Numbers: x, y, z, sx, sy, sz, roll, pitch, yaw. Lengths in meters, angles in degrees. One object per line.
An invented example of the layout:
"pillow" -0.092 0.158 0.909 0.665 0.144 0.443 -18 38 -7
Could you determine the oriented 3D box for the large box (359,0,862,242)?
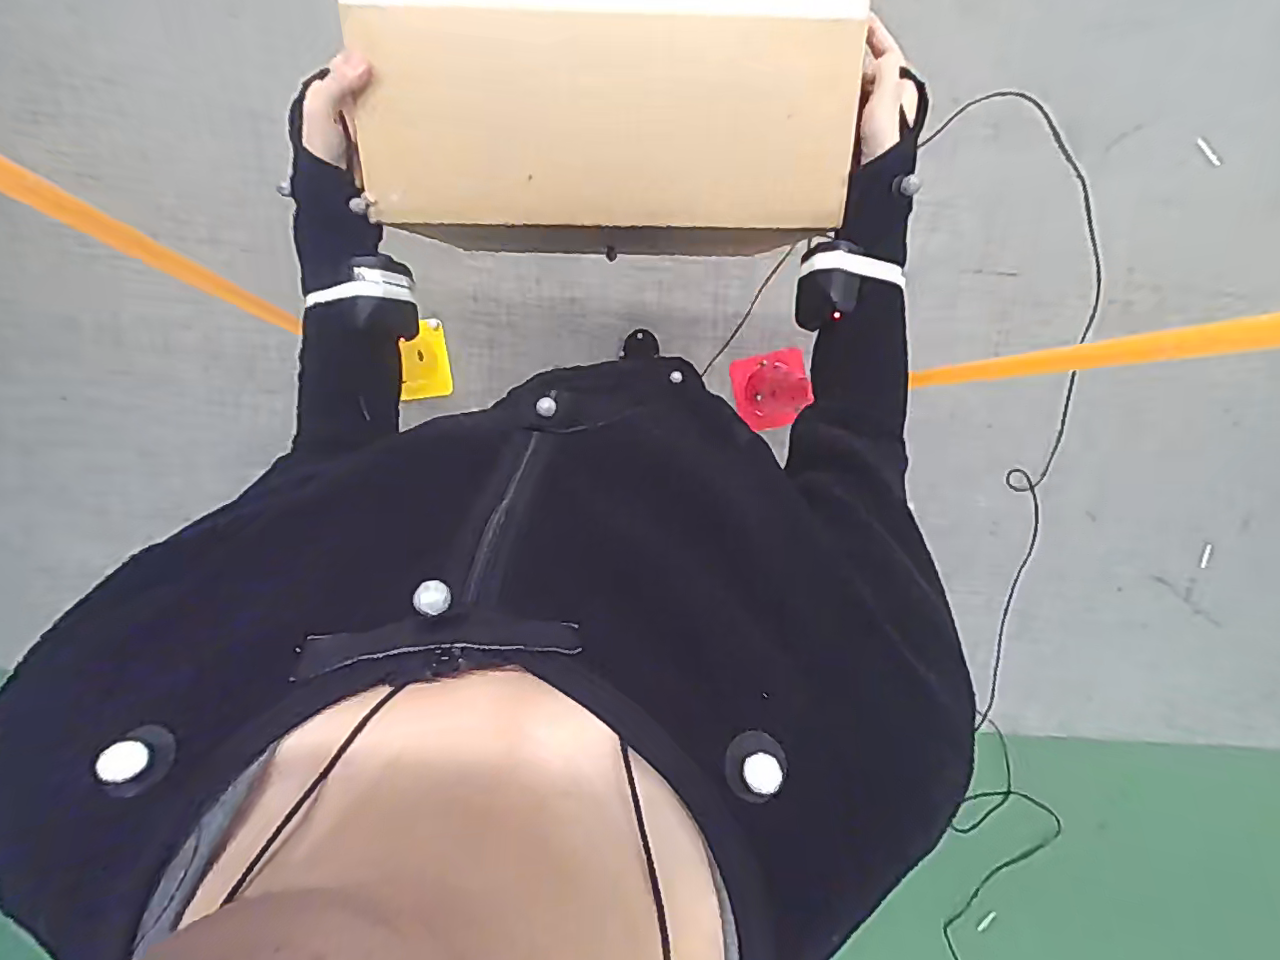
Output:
"large box" -0.024 -0.426 0.565 0.408 0.320 0.320 0 109 -2
